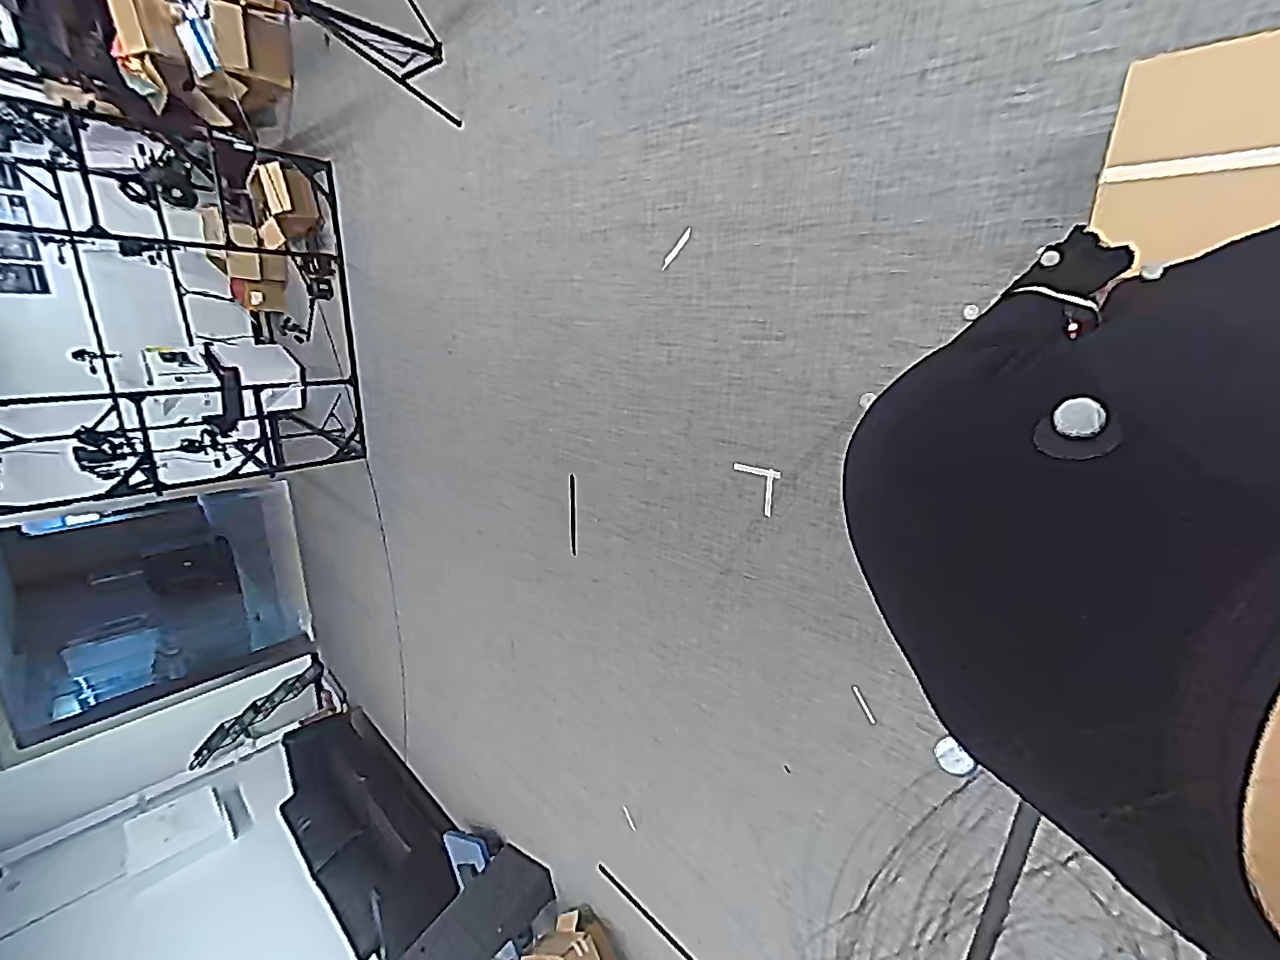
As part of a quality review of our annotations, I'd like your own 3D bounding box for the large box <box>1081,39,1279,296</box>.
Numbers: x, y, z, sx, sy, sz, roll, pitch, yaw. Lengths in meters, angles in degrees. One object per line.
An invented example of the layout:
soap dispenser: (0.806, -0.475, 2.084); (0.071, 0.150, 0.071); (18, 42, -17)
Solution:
large box: (0.994, -0.467, 0.852); (0.408, 0.320, 0.320); (17, 112, 41)
